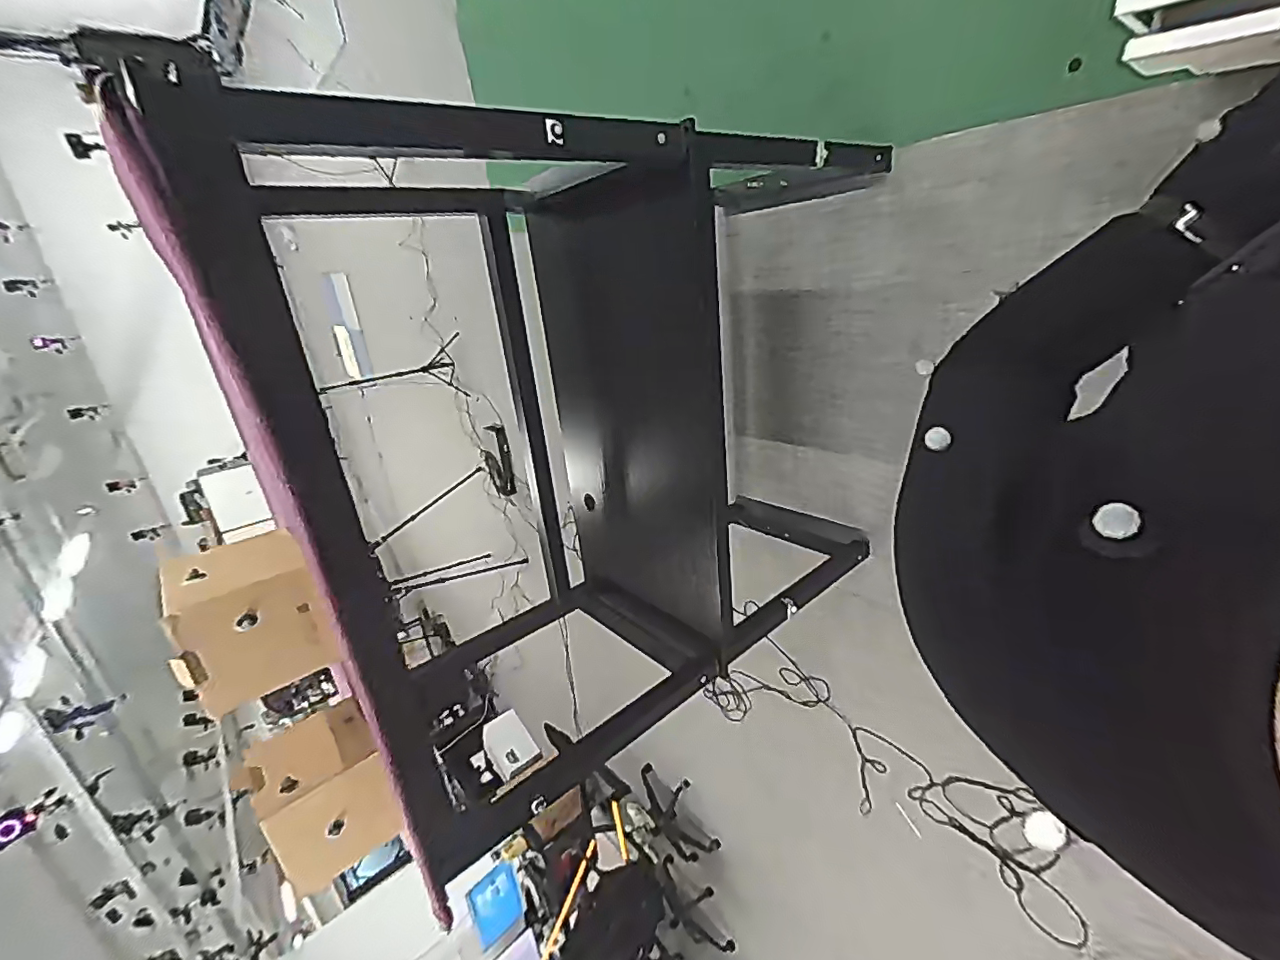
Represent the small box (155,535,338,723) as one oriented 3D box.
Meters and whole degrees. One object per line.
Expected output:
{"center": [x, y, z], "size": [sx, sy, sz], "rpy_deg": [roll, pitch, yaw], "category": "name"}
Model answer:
{"center": [-0.556, 0.198, 0.777], "size": [0.179, 0.176, 0.168], "rpy_deg": [21, 123, 47], "category": "small box"}
